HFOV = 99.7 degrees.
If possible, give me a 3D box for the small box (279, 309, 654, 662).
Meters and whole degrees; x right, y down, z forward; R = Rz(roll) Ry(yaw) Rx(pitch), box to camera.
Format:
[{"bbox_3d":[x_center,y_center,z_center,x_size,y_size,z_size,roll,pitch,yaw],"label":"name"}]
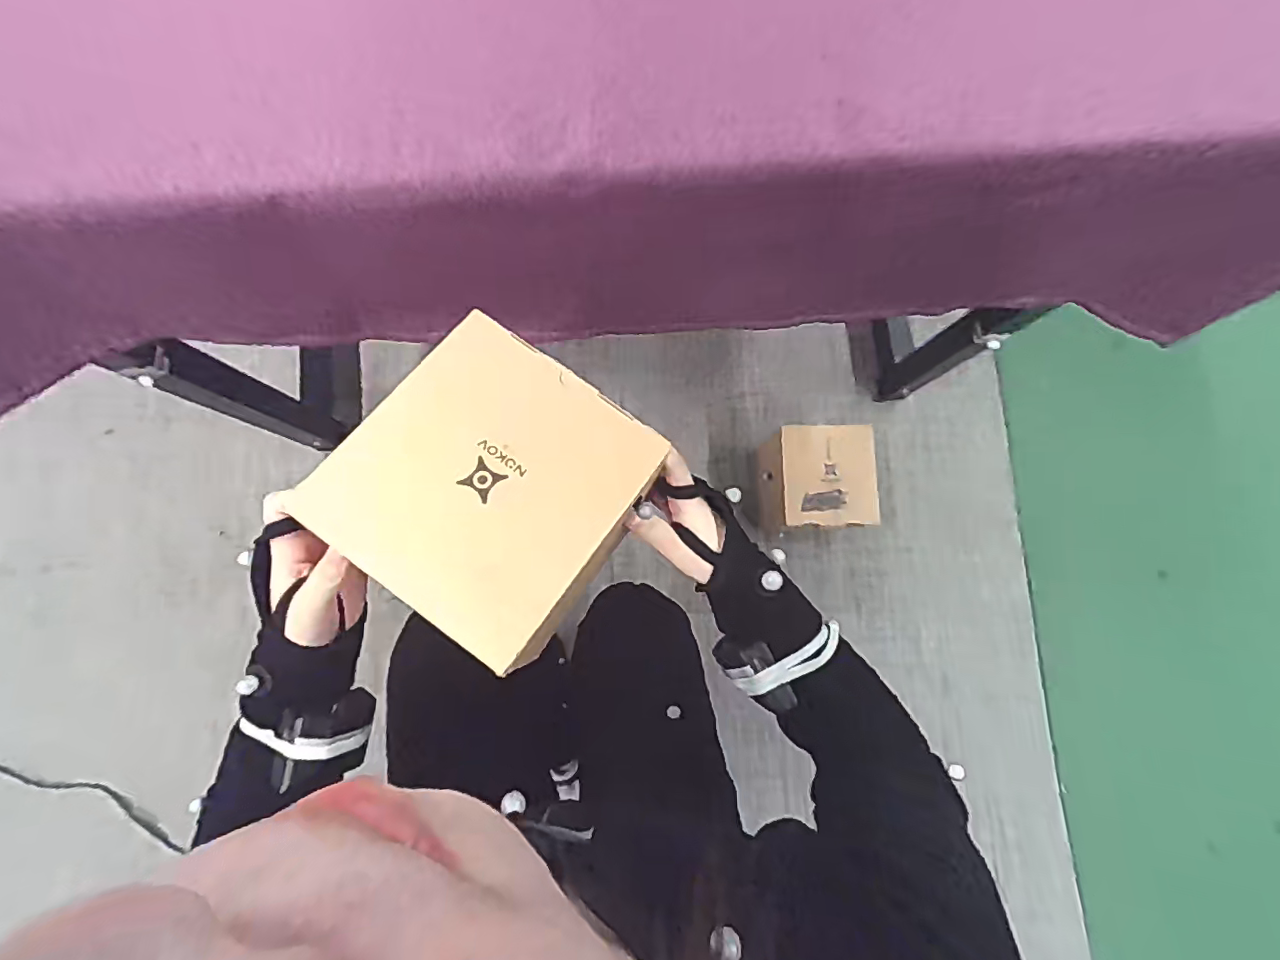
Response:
[{"bbox_3d":[-0.109,0.017,0.414,0.168,0.176,0.179,36,73,6],"label":"small box"}]
